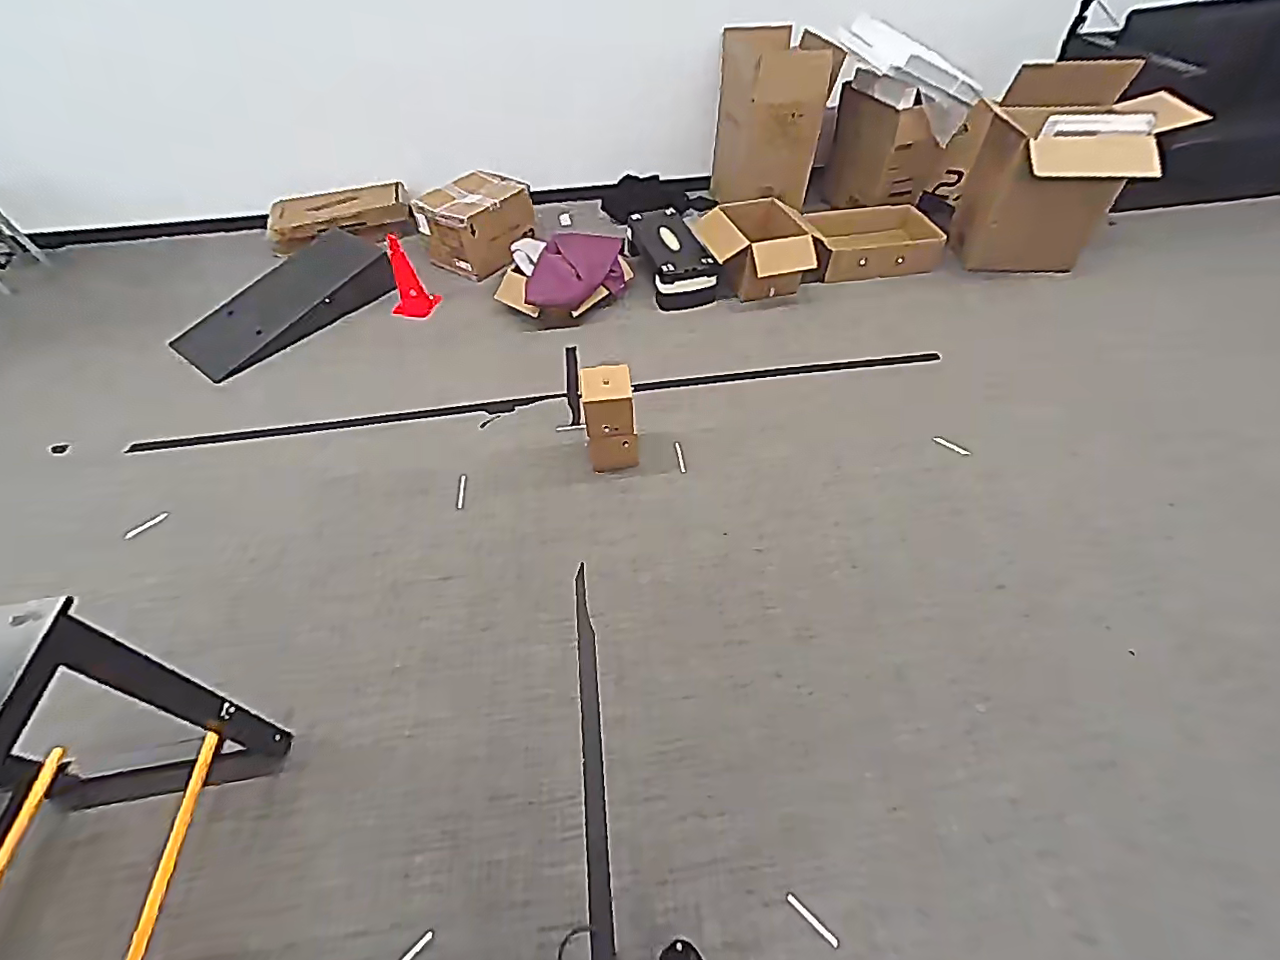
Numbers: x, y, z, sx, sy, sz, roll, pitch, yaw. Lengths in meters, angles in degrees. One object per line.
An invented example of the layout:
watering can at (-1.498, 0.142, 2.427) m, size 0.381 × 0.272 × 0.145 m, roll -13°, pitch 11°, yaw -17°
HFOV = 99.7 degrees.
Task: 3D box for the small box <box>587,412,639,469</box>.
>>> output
small box at (-0.100, -0.159, 1.982) m, size 0.179 × 0.176 × 0.168 m, roll -7°, pitch 50°, yaw -5°

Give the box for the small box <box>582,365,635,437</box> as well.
small box at (-0.110, -0.272, 1.865) m, size 0.168 × 0.176 × 0.179 m, roll -7°, pitch 51°, yaw -3°
